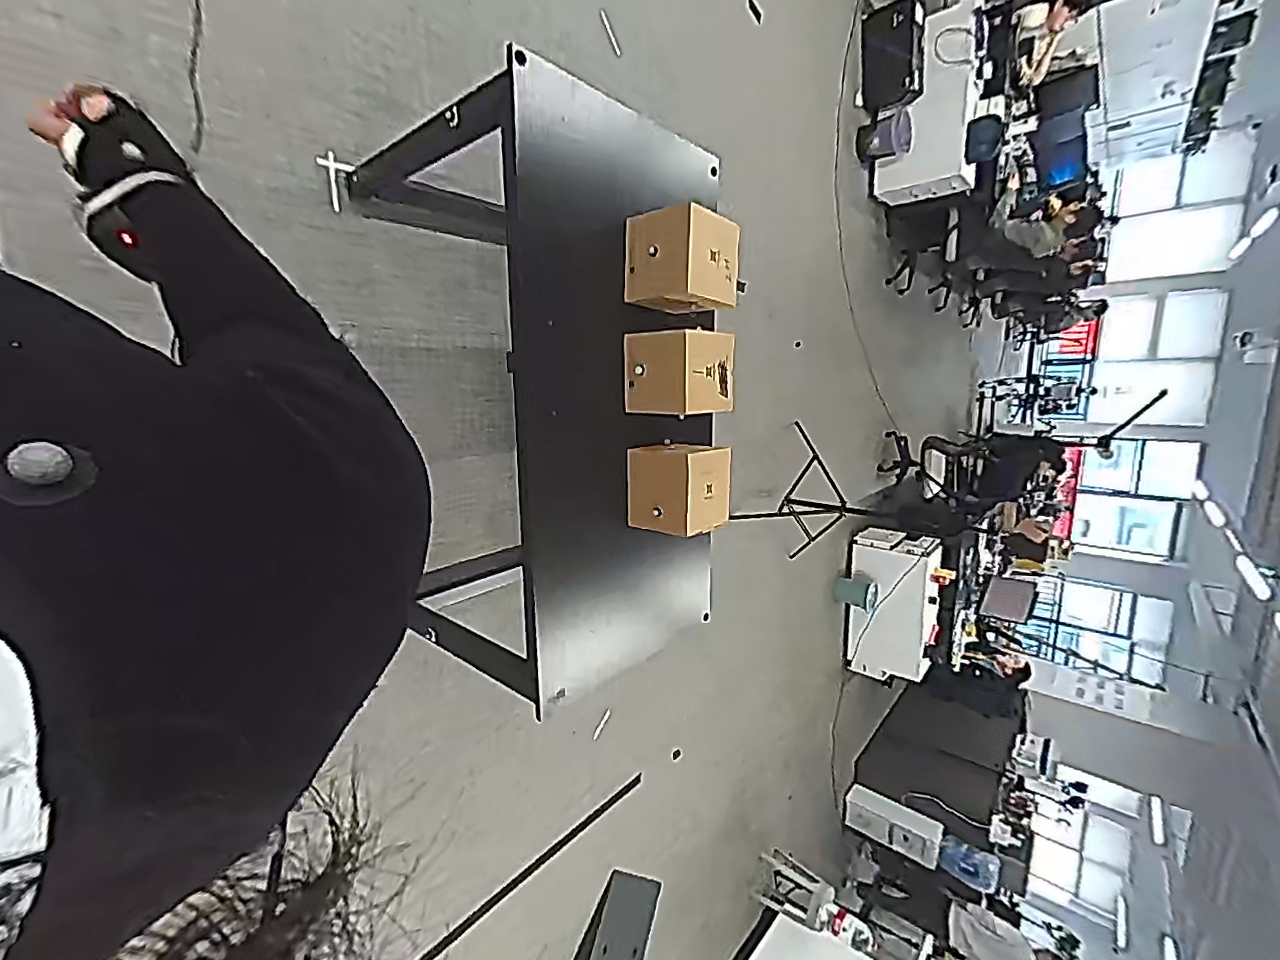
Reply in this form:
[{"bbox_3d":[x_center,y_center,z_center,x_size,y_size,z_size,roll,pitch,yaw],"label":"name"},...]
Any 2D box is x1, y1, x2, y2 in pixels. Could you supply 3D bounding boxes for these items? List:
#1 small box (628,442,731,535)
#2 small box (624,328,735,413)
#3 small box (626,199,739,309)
[{"bbox_3d":[0.087,0.011,1.204,0.168,0.176,0.179,-12,104,-49],"label":"small box"},{"bbox_3d":[0.085,-0.234,1.158,0.179,0.176,0.168,-13,106,-46],"label":"small box"},{"bbox_3d":[0.086,-0.455,1.123,0.179,0.176,0.168,-8,102,-48],"label":"small box"}]
